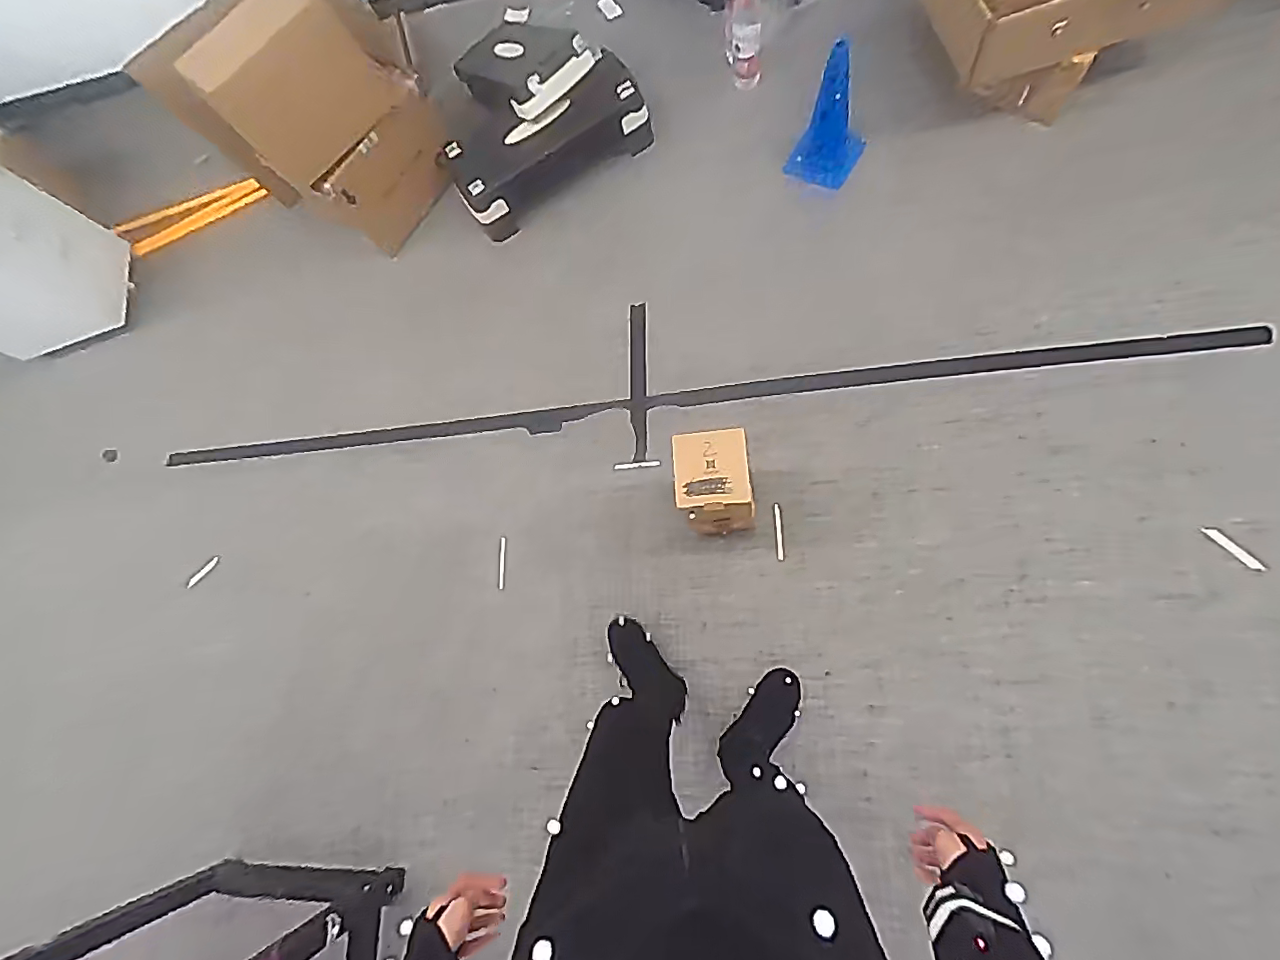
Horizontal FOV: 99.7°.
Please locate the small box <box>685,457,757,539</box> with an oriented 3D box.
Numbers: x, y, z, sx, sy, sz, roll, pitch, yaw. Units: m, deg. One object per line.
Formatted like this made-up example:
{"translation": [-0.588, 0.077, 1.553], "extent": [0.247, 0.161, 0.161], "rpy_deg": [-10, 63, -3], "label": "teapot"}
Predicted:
{"translation": [0.215, 0.053, 1.432], "extent": [0.168, 0.176, 0.179], "rpy_deg": [-7, 75, 10], "label": "small box"}
